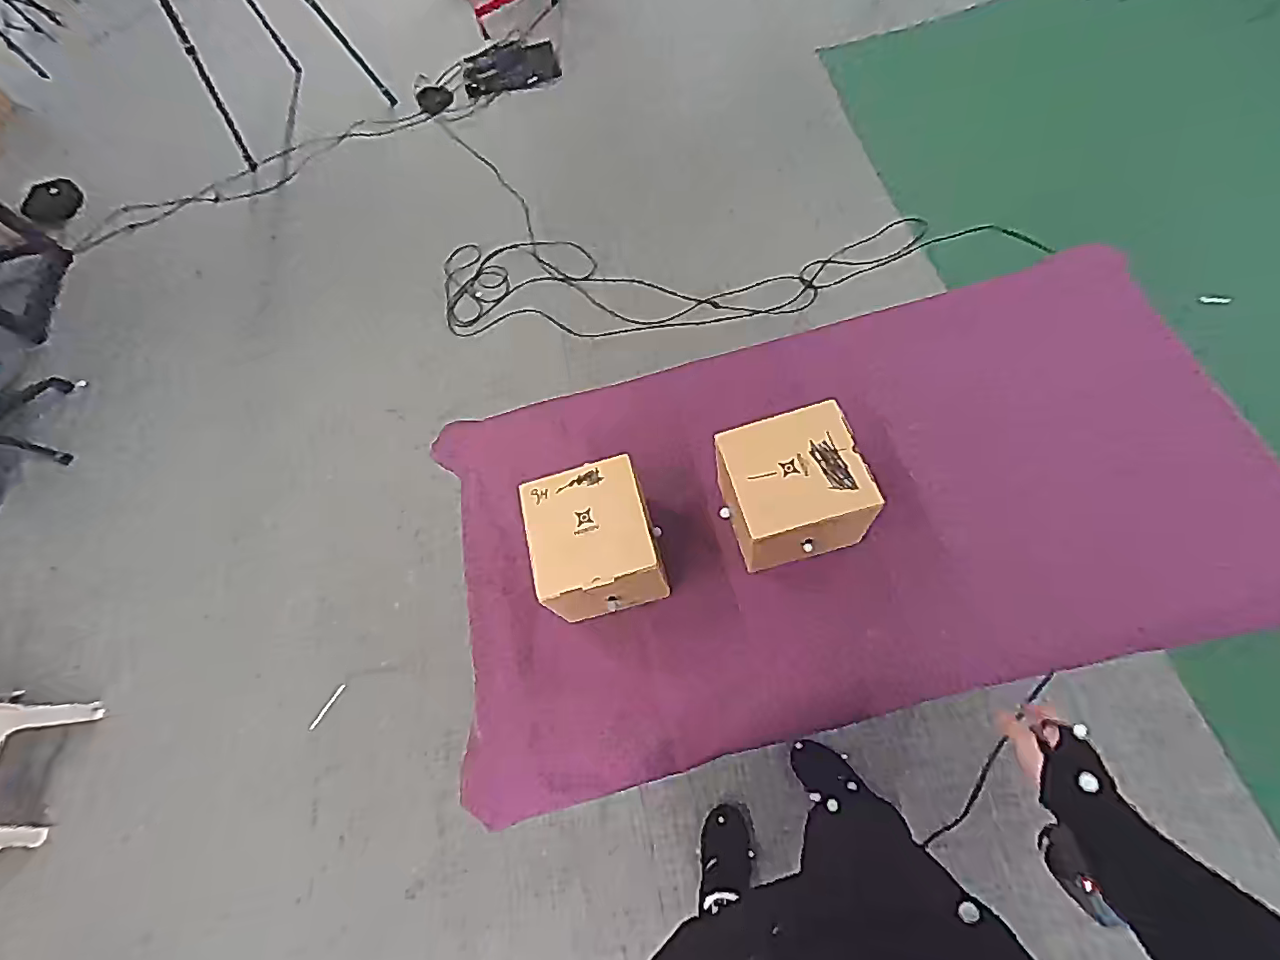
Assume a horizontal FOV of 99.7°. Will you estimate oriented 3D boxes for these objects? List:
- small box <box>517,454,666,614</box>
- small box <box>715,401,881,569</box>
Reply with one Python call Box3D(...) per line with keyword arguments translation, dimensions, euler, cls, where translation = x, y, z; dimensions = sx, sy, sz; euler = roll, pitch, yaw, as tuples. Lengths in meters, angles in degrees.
Box3D(translation=(-0.065, 0.091, 0.802), dimensions=(0.168, 0.176, 0.179), euler=(-16, 65, 2), cls="small box")
Box3D(translation=(0.216, 0.015, 0.788), dimensions=(0.179, 0.176, 0.168), euler=(-16, 64, 3), cls="small box")
